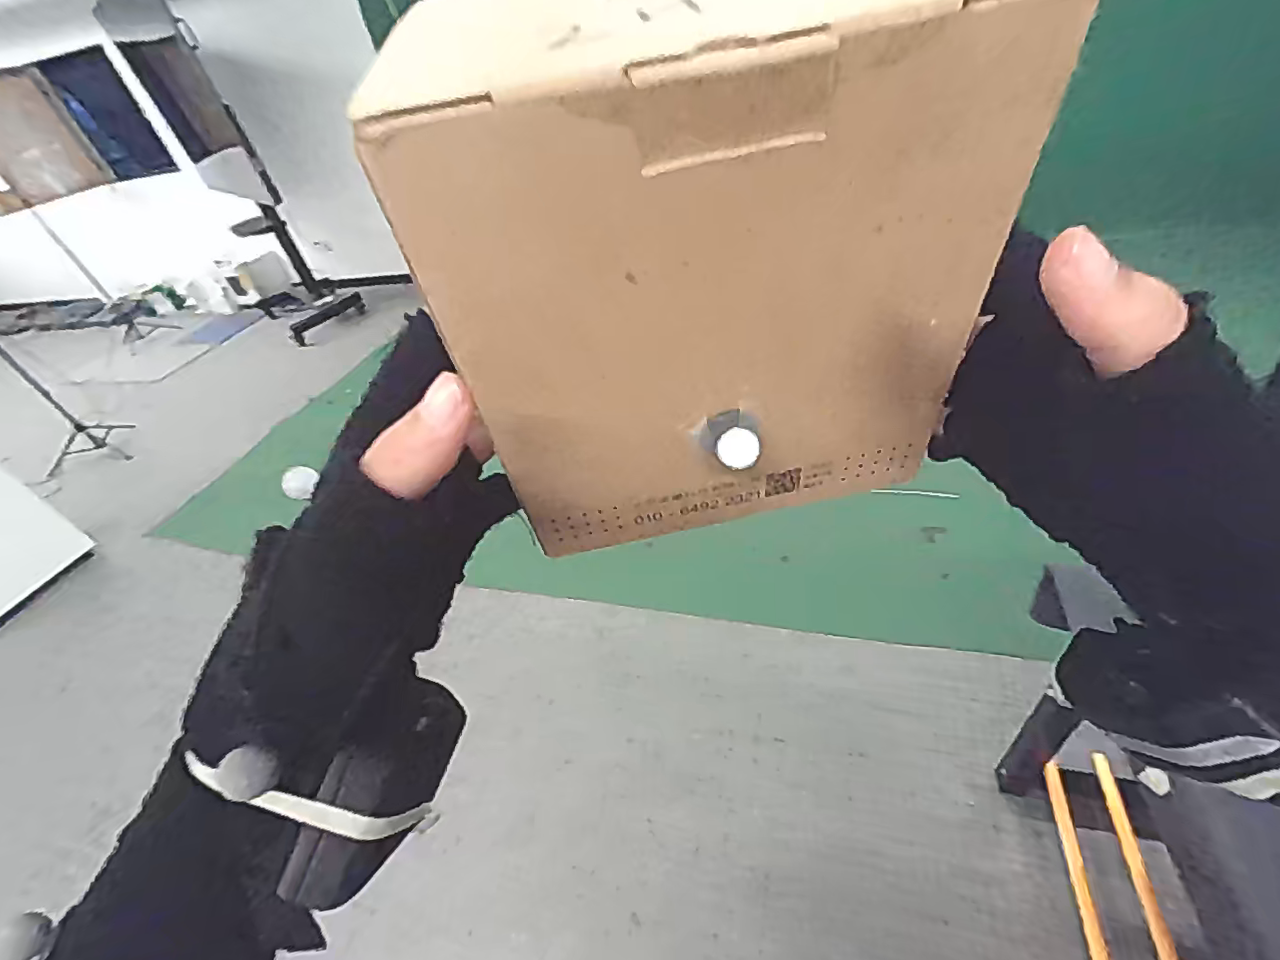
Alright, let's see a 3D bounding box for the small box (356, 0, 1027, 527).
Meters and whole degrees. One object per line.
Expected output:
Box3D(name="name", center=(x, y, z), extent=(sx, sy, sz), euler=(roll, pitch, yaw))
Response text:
Box3D(name="small box", center=(0.010, -0.107, 0.242), extent=(0.168, 0.176, 0.179), euler=(-13, 48, -1))
